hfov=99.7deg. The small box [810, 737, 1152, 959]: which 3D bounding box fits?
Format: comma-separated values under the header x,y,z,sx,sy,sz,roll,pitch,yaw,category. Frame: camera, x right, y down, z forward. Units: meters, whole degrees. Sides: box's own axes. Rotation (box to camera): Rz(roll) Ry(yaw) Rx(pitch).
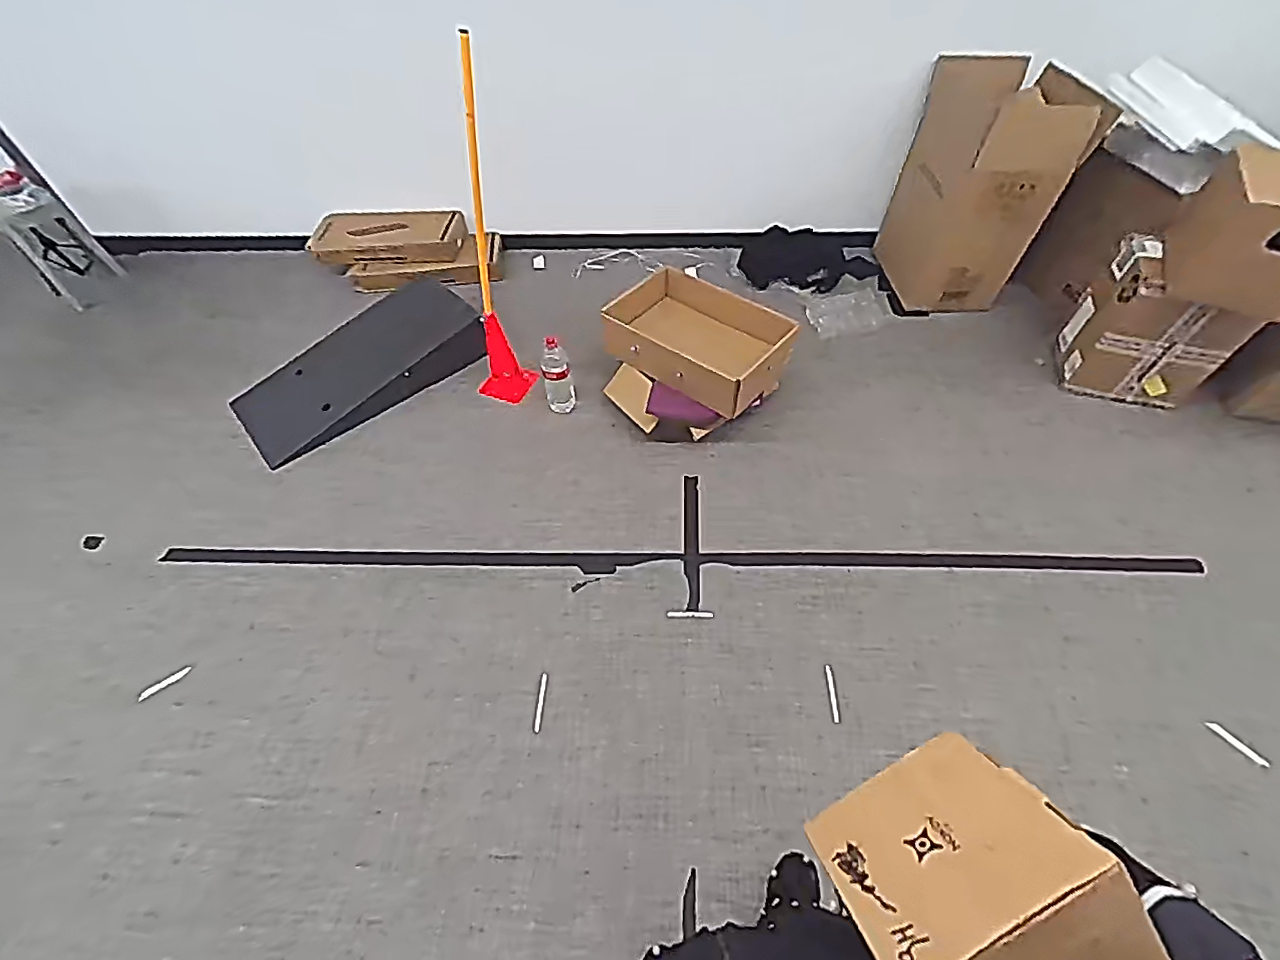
x,y,z,sx,sy,sz,roll,pitch,yaw,category
0.284,0.370,0.458,0.179,0.168,0.176,-30,96,-3,small box
